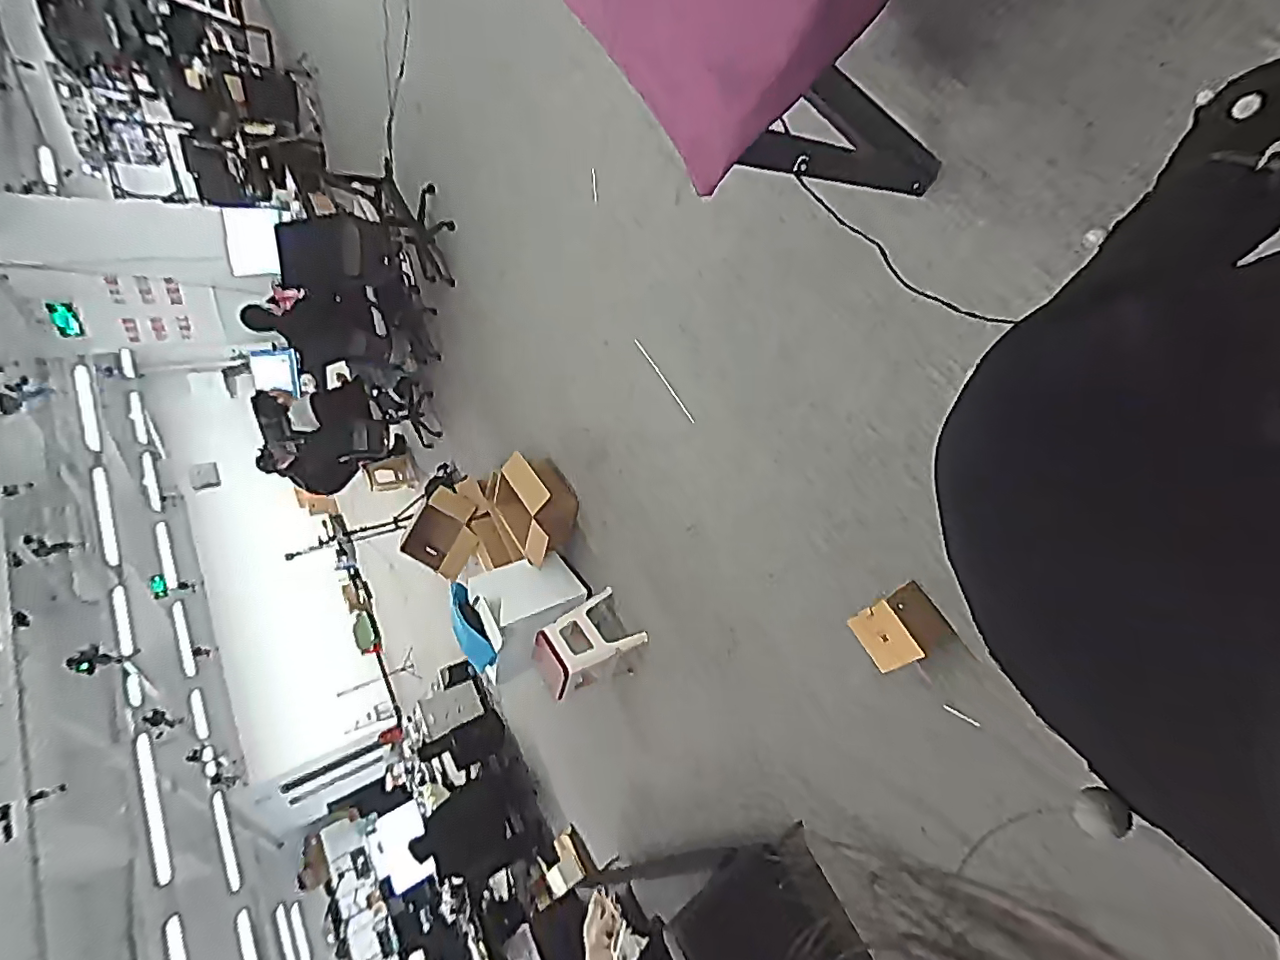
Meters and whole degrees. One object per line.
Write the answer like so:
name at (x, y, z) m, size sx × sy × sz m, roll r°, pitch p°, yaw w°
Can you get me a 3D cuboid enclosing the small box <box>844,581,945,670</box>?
small box at (0.750, 0.424, 1.588) m, size 0.179 × 0.176 × 0.168 m, roll 59°, pitch 141°, yaw 21°
